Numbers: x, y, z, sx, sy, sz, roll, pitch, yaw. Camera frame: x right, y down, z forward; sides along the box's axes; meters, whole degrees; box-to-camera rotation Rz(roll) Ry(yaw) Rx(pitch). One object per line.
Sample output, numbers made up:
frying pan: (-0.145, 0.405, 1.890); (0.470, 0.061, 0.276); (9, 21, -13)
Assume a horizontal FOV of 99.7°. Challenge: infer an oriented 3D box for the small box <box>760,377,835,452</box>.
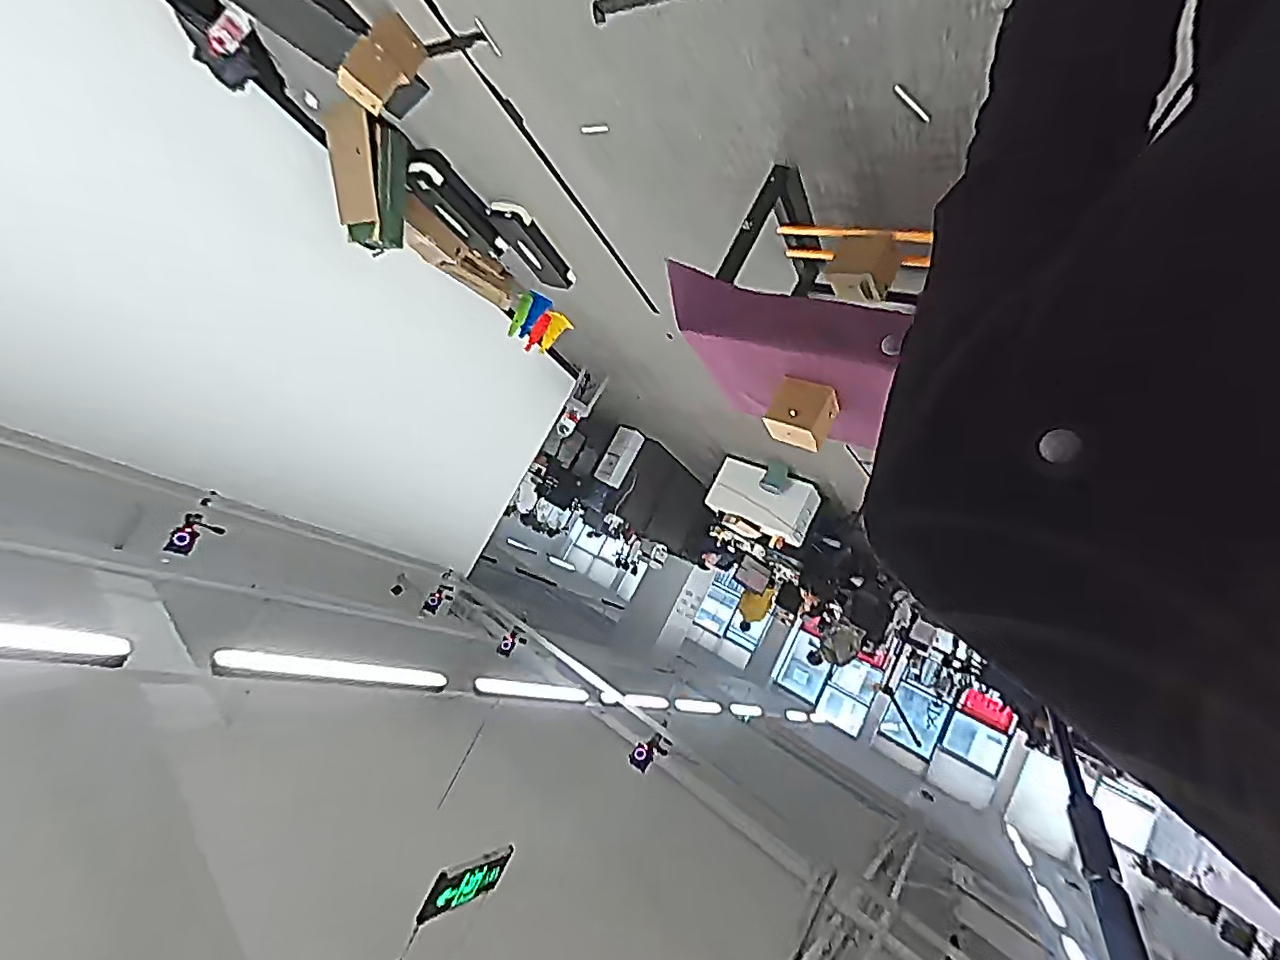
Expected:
small box: (0.529, -0.223, 1.807); (0.179, 0.176, 0.168); (22, 171, 32)
